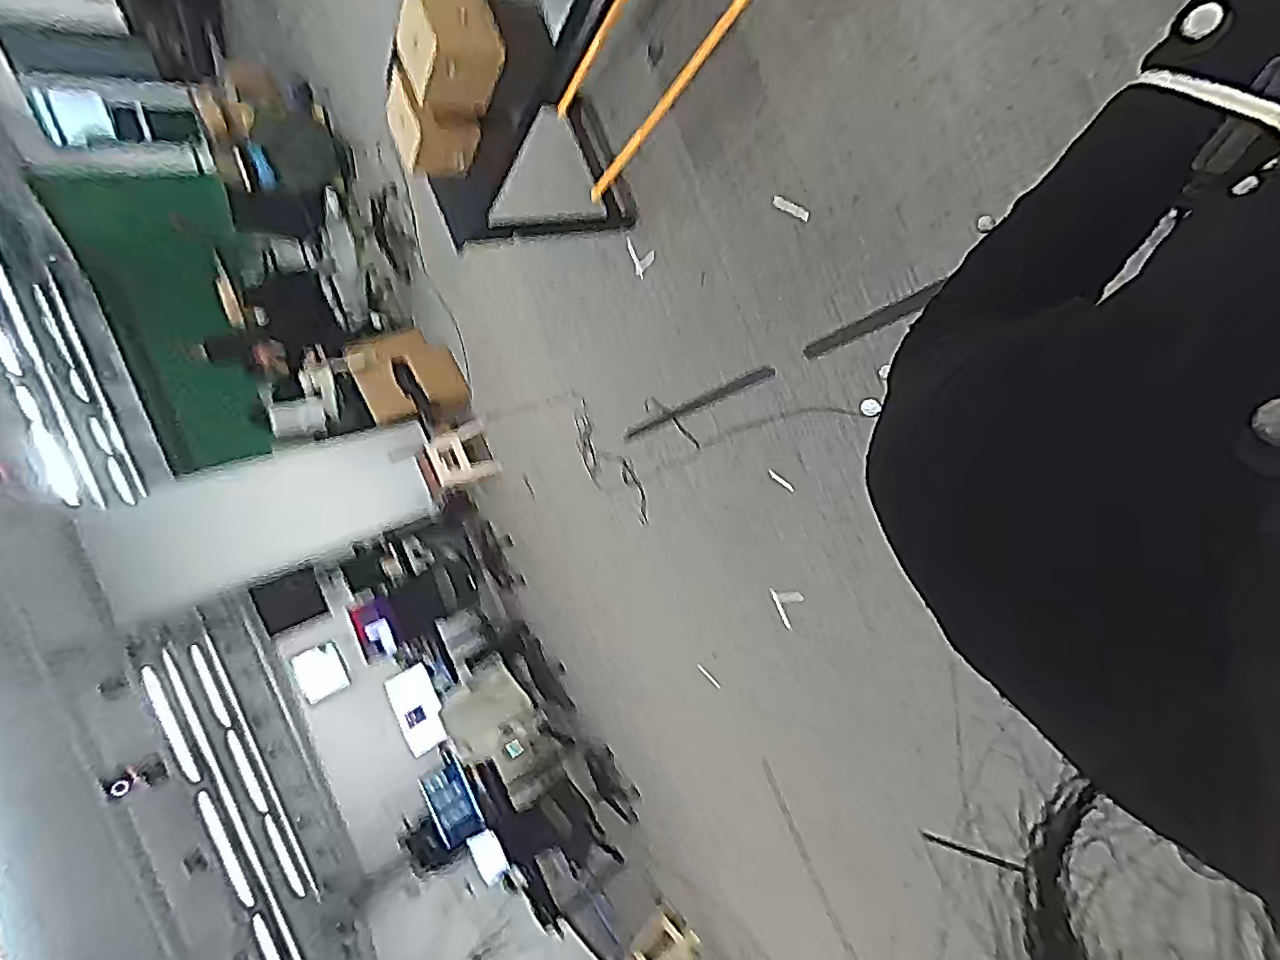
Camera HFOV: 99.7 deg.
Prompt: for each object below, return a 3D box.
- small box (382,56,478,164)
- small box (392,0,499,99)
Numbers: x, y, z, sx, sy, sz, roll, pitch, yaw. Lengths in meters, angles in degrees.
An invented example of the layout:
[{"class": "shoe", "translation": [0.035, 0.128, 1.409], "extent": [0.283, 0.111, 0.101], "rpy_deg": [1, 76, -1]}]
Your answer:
[{"class": "small box", "translation": [-0.556, -0.971, 1.434], "extent": [0.168, 0.176, 0.179], "rpy_deg": [-20, 93, 57]}, {"class": "small box", "translation": [-0.447, -1.024, 1.250], "extent": [0.179, 0.176, 0.168], "rpy_deg": [-17, 94, 56]}]
